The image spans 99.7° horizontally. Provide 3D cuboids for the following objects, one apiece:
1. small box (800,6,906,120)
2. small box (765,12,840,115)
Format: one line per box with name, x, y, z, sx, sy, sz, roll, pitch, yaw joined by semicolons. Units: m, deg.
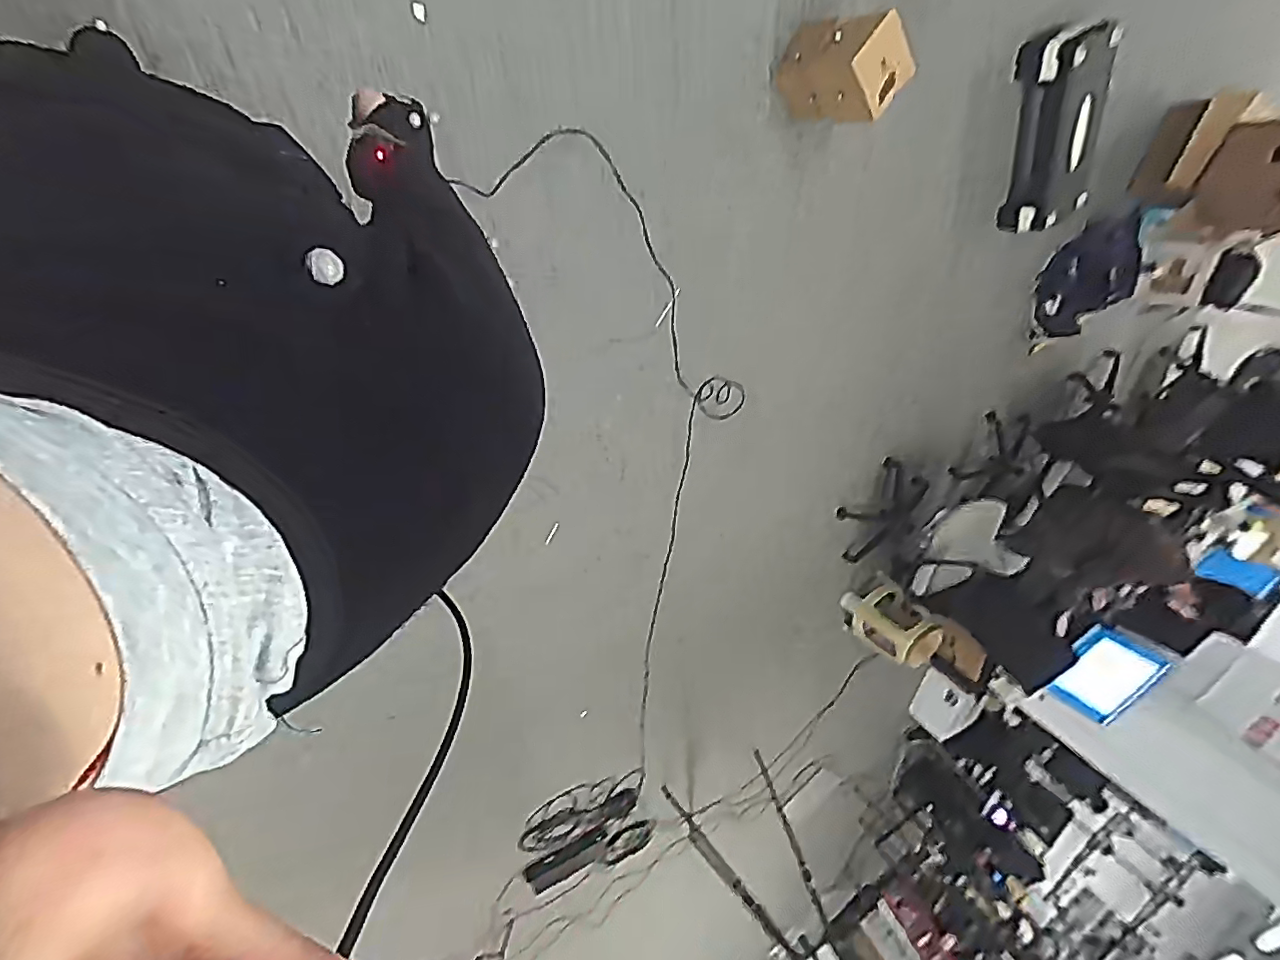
small box;0.567;-1.104;1.448;0.179;0.176;0.168;33;96;-40
small box;0.498;-1.192;1.569;0.179;0.176;0.168;23;103;-41
